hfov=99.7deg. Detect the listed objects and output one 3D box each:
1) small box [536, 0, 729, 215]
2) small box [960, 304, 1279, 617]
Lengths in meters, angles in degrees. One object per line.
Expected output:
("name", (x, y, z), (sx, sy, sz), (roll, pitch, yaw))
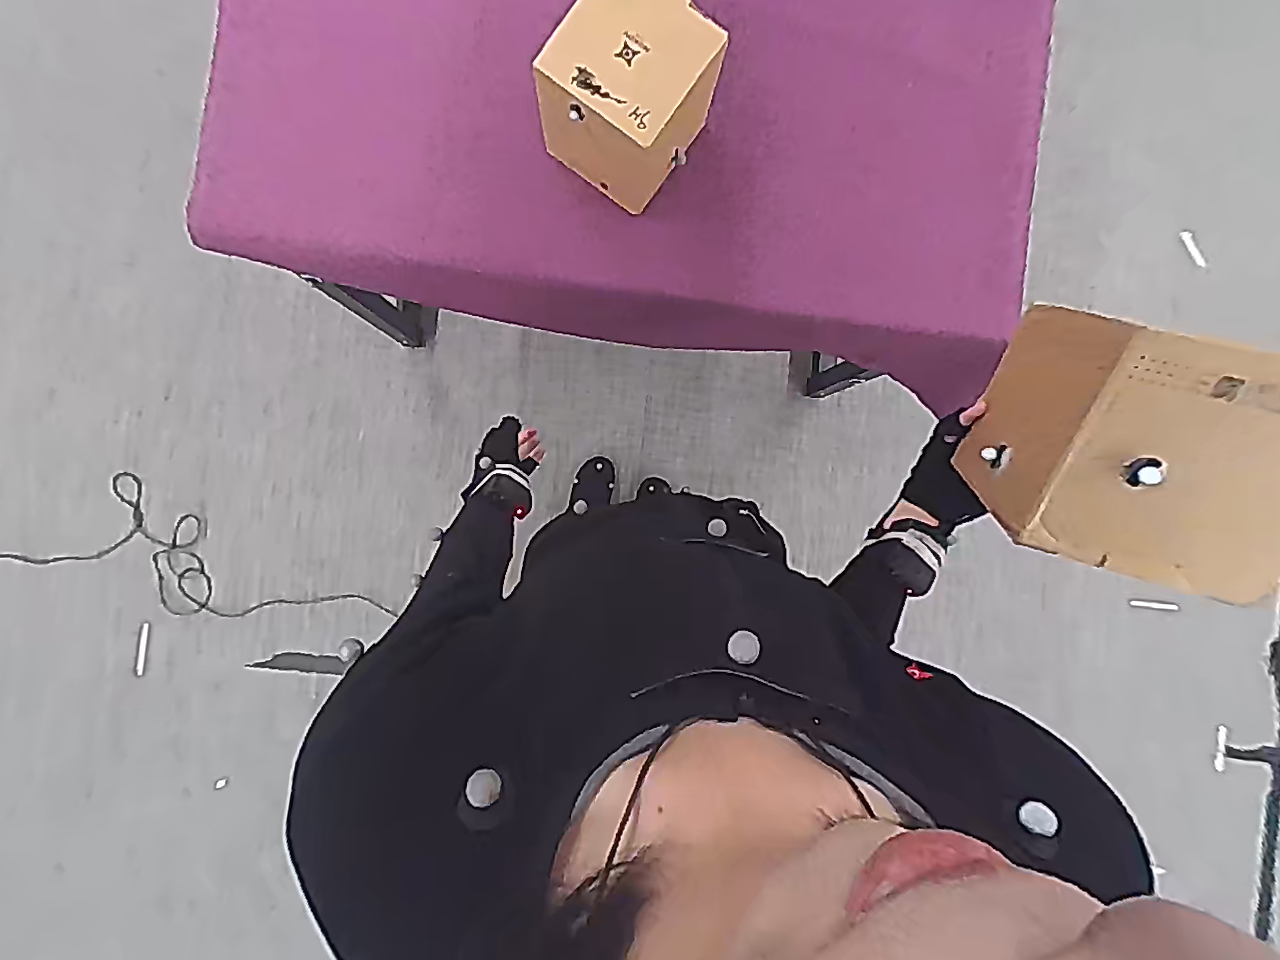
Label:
("small box", (-0.015, -0.496, 0.707), (0.168, 0.176, 0.179), (35, 86, -3))
("small box", (0.392, -0.032, 0.420), (0.168, 0.179, 0.176), (17, 116, 8))
